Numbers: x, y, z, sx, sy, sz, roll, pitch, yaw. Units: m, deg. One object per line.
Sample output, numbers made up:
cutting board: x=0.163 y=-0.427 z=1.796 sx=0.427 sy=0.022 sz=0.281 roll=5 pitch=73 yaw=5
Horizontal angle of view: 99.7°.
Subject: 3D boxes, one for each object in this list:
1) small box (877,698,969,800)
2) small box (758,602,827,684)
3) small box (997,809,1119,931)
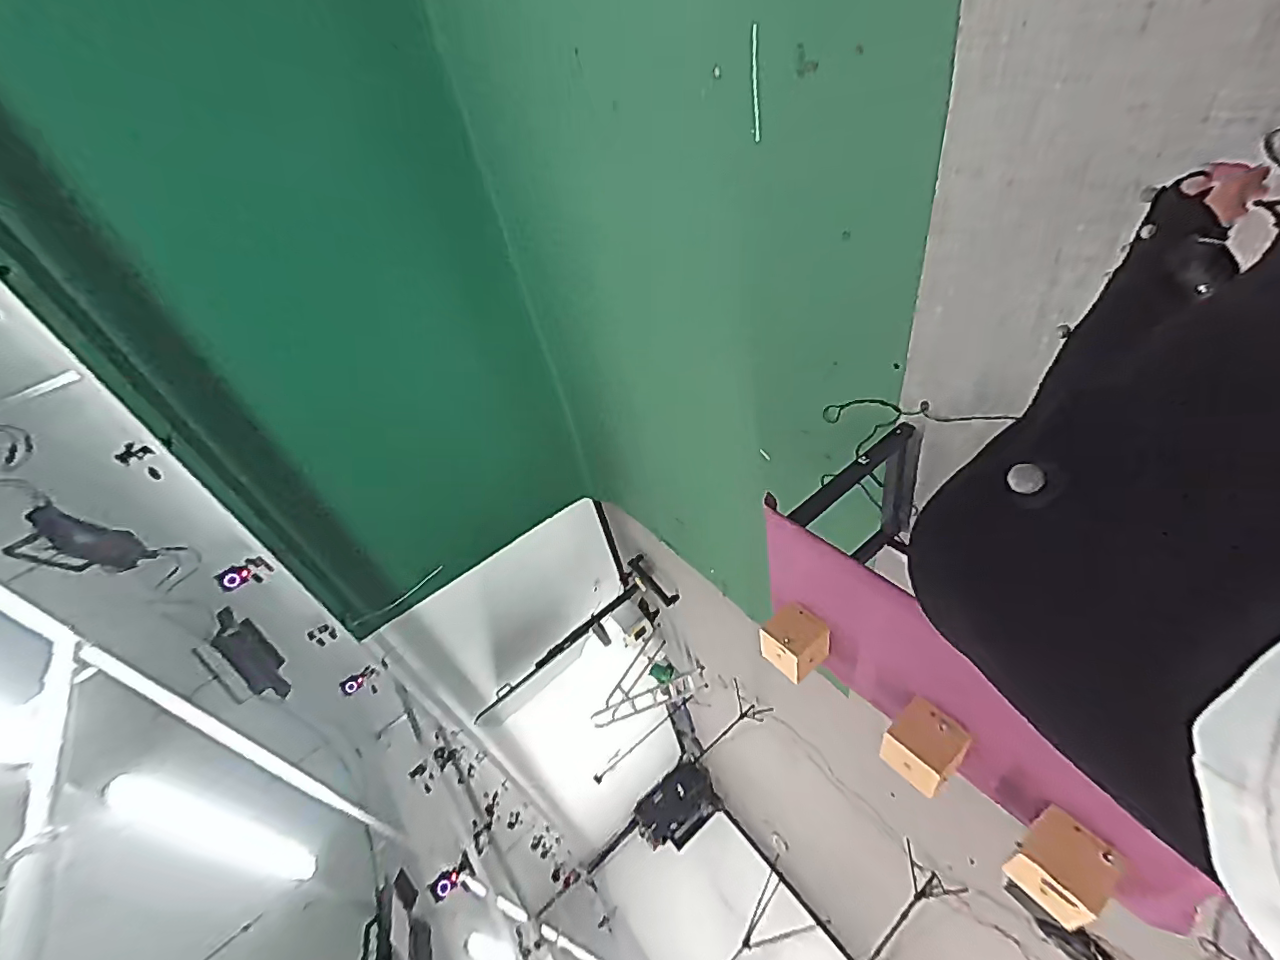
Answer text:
small box: x=0.821 y=0.778 z=1.574 sx=0.168 sy=0.176 sz=0.179 roll=36 pitch=150 yaw=41
small box: x=0.534 y=0.564 z=1.881 sx=0.168 sy=0.176 sz=0.179 roll=34 pitch=150 yaw=42
small box: x=1.044 y=0.967 z=1.350 sx=0.168 sy=0.176 sz=0.179 roll=38 pitch=151 yaw=40
